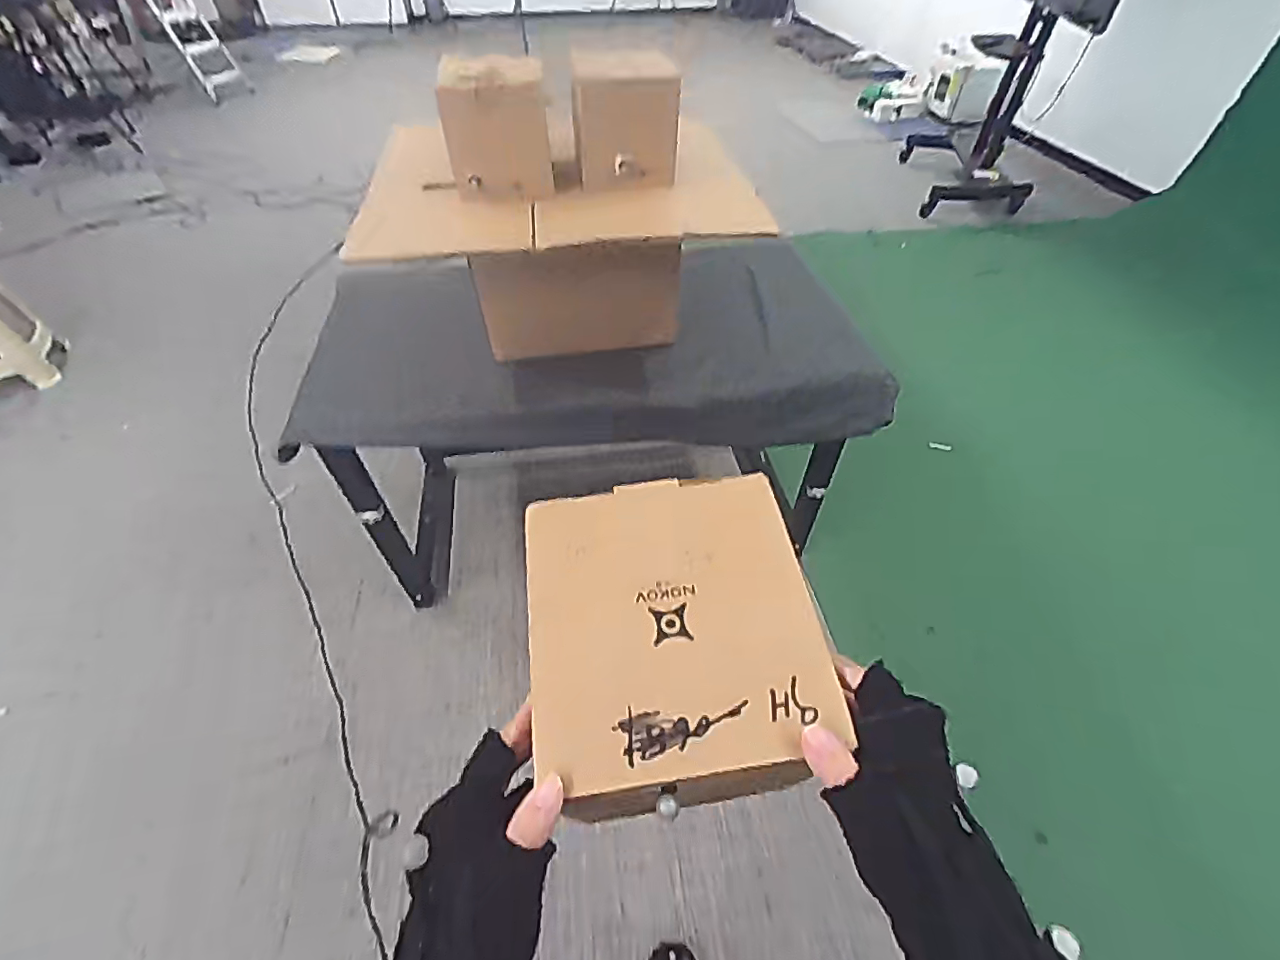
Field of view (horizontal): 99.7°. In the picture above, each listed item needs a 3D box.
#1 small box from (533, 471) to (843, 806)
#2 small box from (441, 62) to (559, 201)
[{"bbox_3d":[0.019,0.119,0.393,0.168,0.176,0.179,-8,54,-2],"label":"small box"},{"bbox_3d":[-0.235,-0.604,0.946,0.168,0.176,0.179,-6,49,-5],"label":"small box"}]
